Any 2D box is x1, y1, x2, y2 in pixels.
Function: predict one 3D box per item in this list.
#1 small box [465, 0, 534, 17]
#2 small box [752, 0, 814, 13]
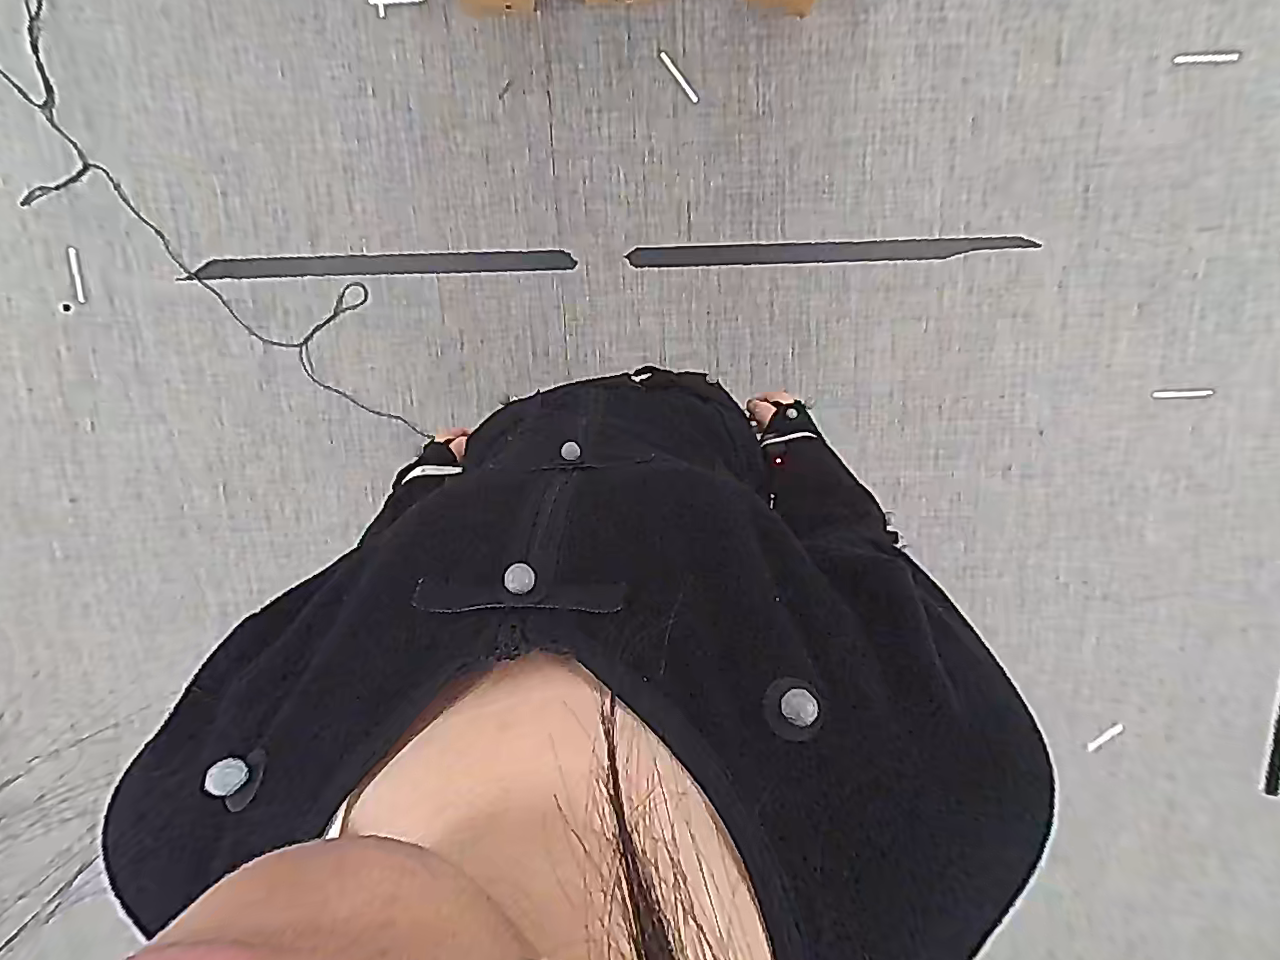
[{"bbox_3d":[-0.333,-1.189,1.204,0.168,0.176,0.179,0,98,0],"label":"small box"},{"bbox_3d":[0.341,-1.194,1.201,0.179,0.176,0.168,15,100,-1],"label":"small box"}]
